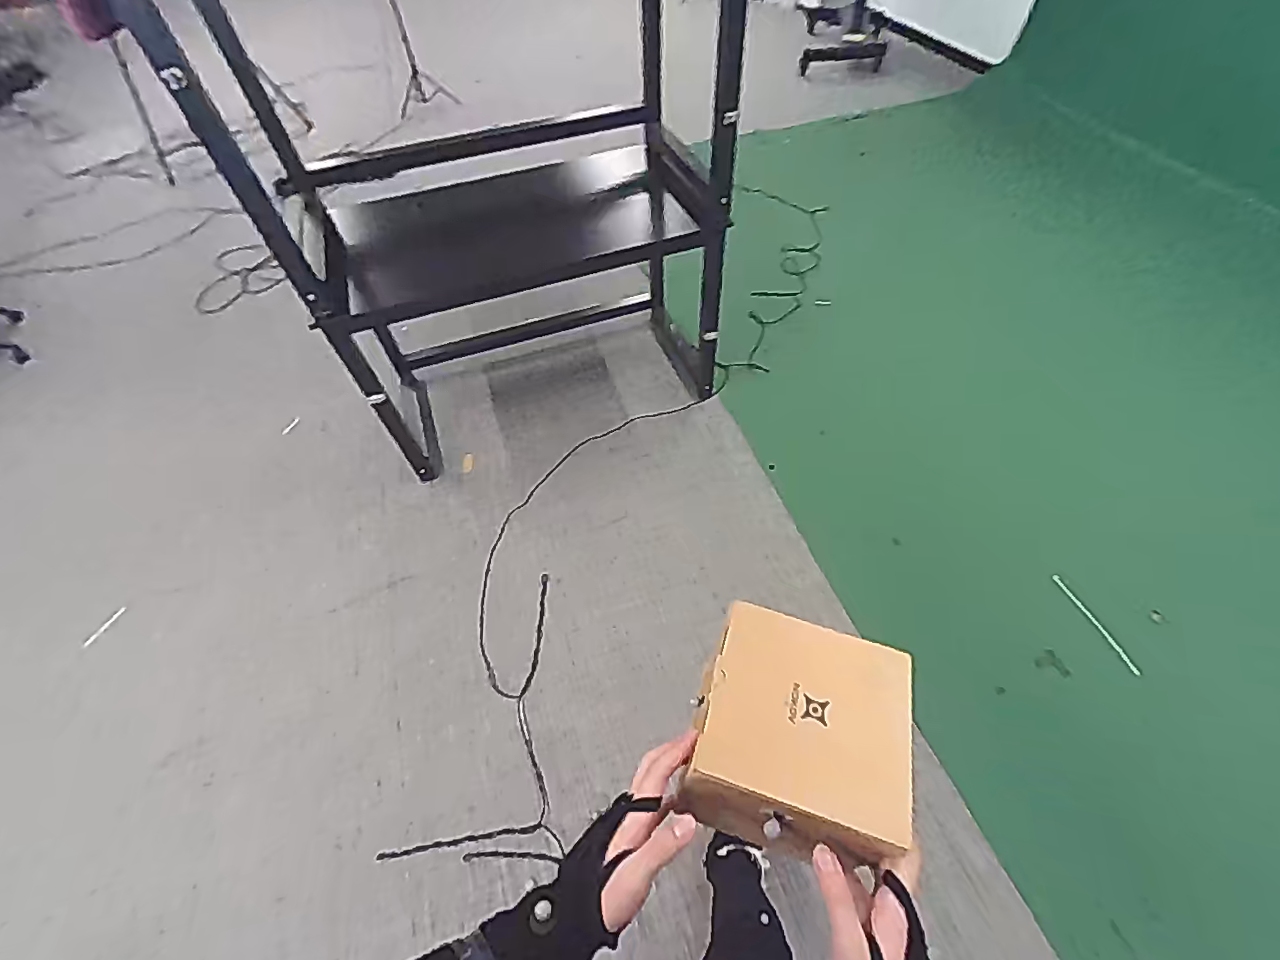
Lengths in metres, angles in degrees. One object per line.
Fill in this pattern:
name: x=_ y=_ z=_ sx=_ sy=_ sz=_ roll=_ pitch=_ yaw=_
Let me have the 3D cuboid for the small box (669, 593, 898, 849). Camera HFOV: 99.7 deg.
small box: x=0.138 y=0.247 z=0.546 sx=0.179 sy=0.176 sz=0.168 roll=15 pitch=48 yaw=10
